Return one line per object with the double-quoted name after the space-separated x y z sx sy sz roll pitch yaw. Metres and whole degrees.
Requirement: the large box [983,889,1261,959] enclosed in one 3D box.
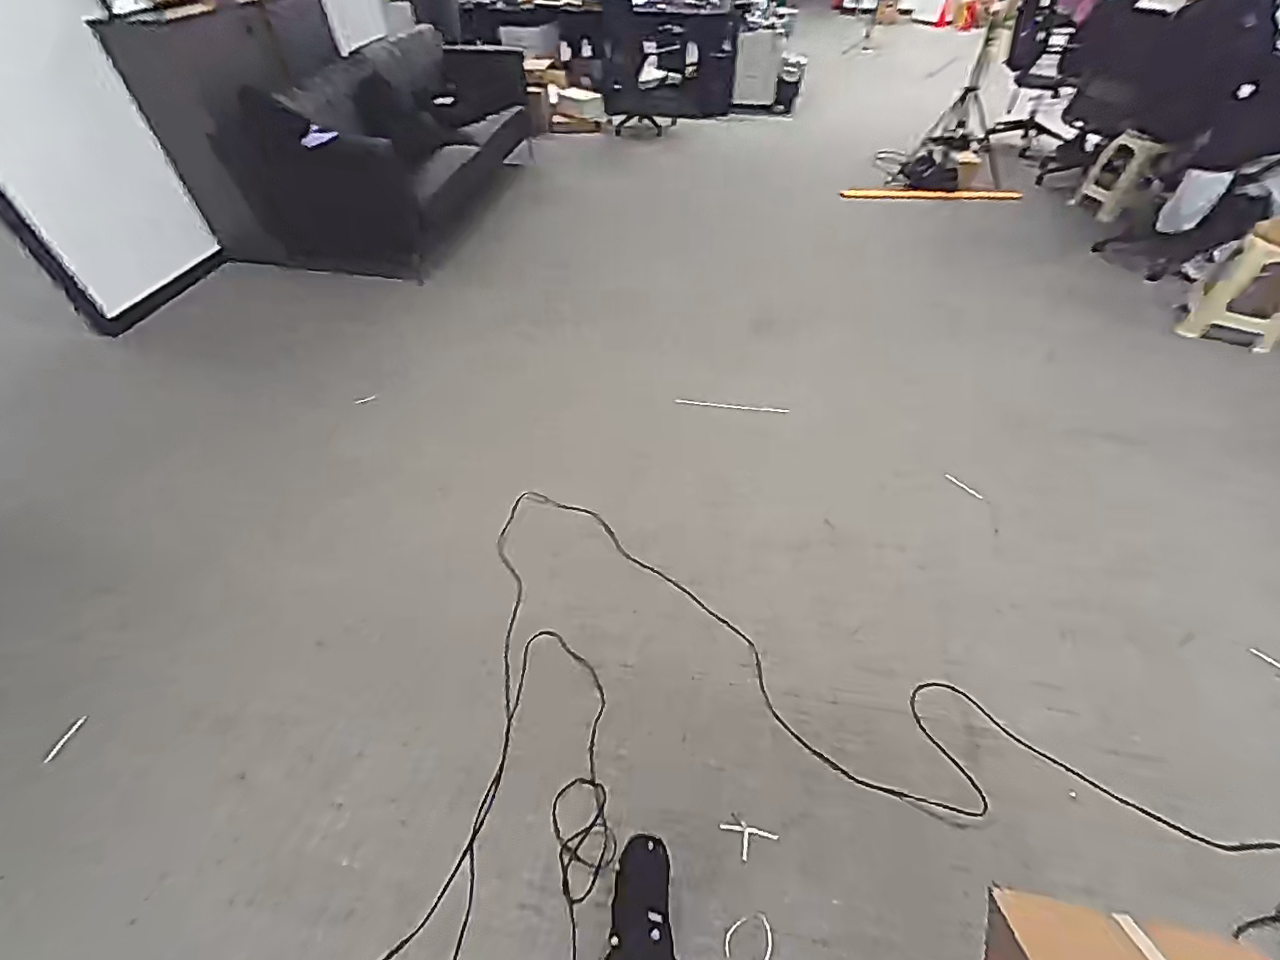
0.598 0.749 0.557 0.320 0.408 0.320 5 92 12 "large box"
